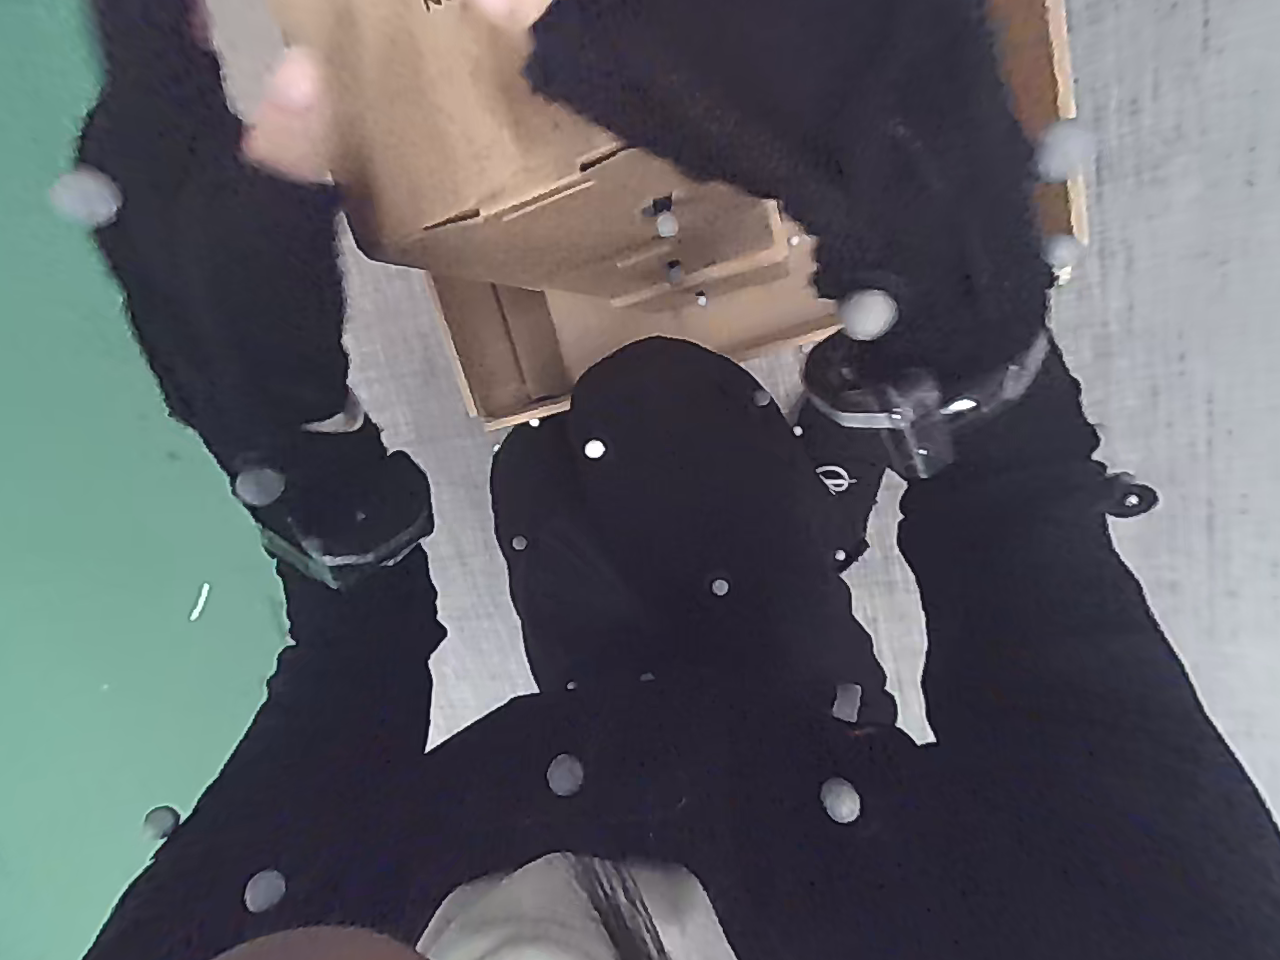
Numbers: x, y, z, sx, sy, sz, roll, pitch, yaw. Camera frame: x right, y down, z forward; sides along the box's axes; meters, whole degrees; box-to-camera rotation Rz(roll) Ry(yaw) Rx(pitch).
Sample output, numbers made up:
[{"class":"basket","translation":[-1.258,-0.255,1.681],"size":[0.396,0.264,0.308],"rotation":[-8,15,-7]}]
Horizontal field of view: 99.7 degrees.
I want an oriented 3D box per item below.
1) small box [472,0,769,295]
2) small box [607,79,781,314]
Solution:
[{"class":"small box","translation":[0.001,-0.262,0.444],"size":[0.168,0.176,0.179],"rotation":[-14,99,21]},{"class":"small box","translation":[0.056,-0.286,0.593],"size":[0.179,0.176,0.168],"rotation":[-9,101,20]}]
